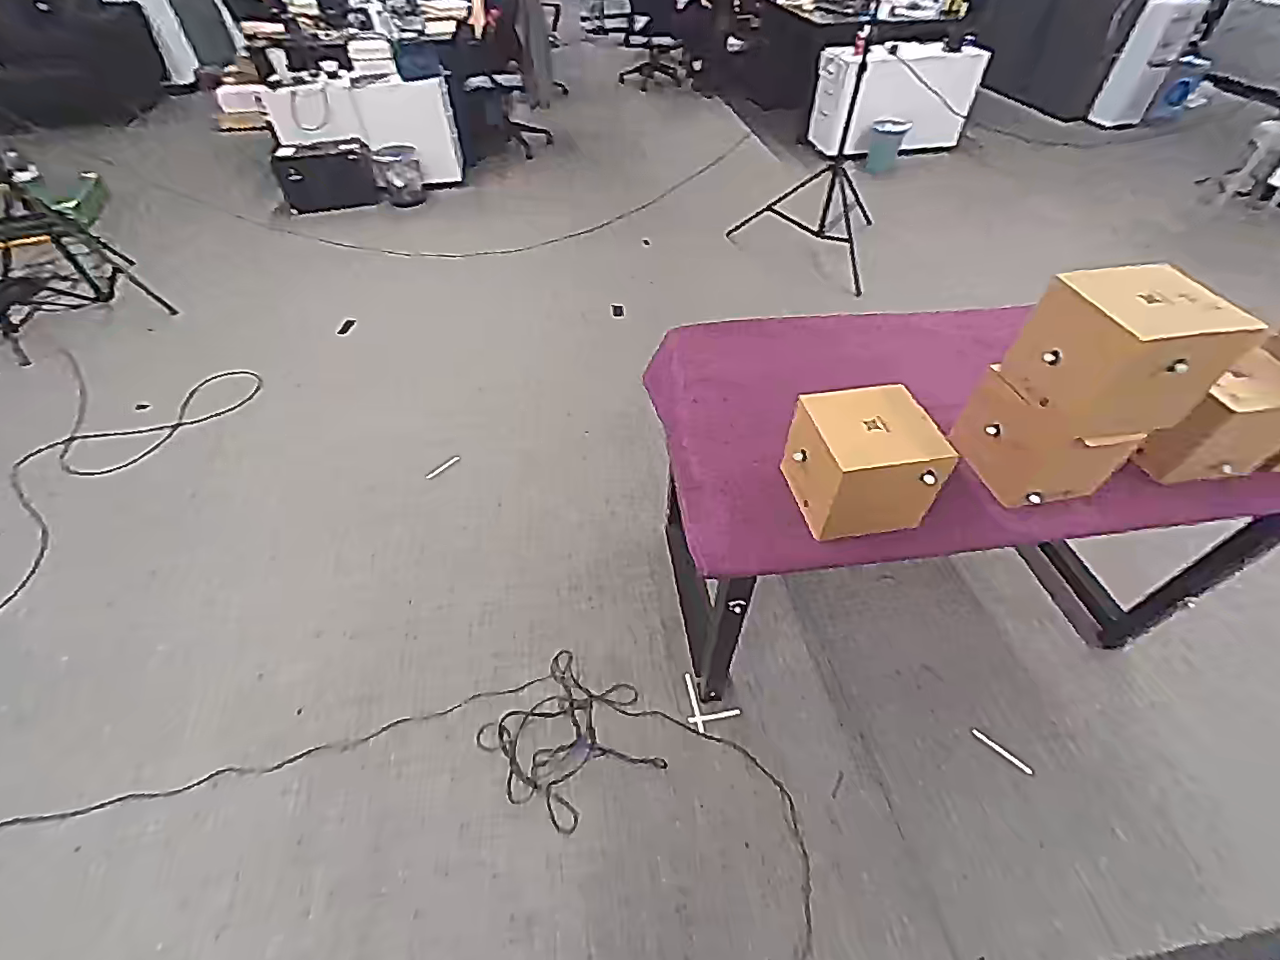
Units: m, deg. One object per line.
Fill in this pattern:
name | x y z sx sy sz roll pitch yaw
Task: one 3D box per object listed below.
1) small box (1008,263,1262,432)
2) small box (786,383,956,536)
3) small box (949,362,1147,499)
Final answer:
small box | 0.667 -0.183 0.765 0.179 0.176 0.168 -7 49 -6
small box | 0.343 -0.028 0.853 0.179 0.176 0.168 -8 49 -7
small box | 0.662 -0.084 0.898 0.168 0.176 0.179 -9 49 -7
